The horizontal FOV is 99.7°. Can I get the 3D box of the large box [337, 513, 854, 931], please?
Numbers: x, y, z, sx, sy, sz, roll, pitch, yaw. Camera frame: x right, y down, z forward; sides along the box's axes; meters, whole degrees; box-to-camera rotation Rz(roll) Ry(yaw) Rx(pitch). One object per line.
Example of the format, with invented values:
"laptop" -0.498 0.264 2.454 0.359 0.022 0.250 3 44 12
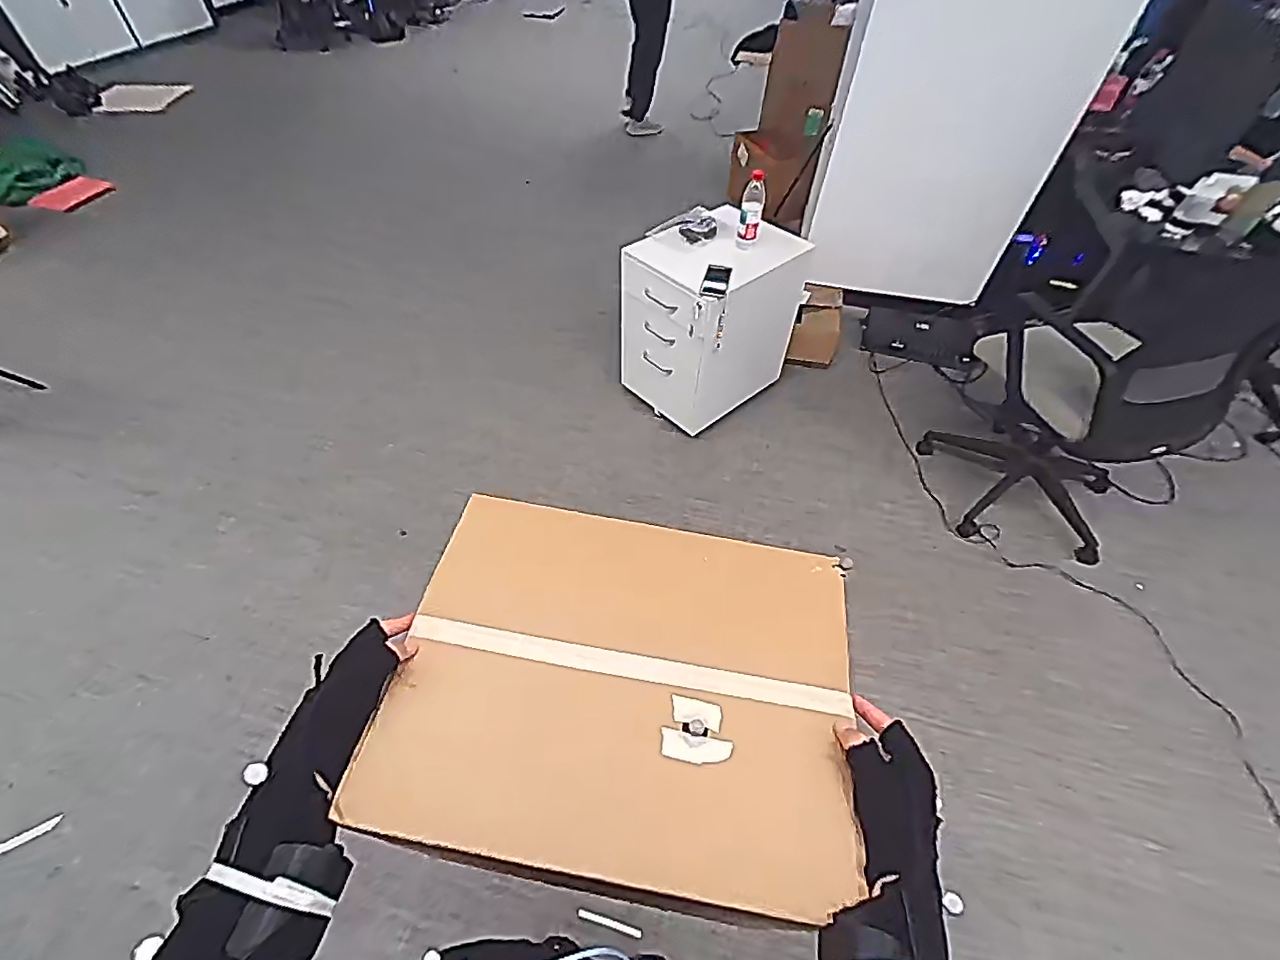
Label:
"large box" -0.028 0.275 0.610 0.408 0.320 0.320 10 52 2
